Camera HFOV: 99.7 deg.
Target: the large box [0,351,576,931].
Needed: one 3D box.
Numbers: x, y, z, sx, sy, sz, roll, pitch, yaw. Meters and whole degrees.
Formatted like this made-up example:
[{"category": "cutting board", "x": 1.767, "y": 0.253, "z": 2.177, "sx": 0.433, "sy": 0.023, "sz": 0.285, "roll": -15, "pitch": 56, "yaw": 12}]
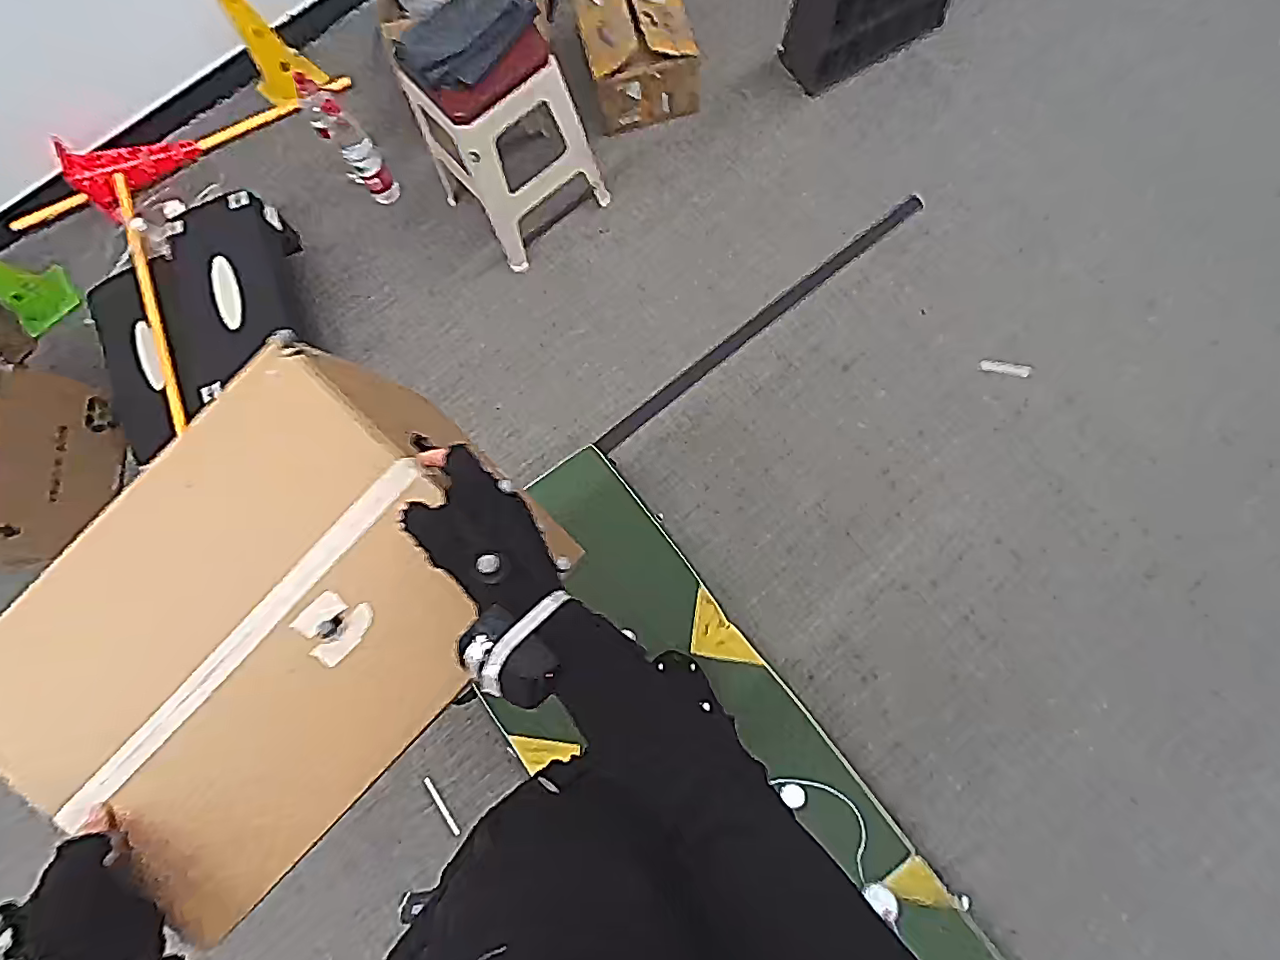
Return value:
[{"category": "large box", "x": -0.328, "y": 0.139, "z": 0.610, "sx": 0.320, "sy": 0.320, "sz": 0.408, "roll": 43, "pitch": 88, "yaw": 0}]
